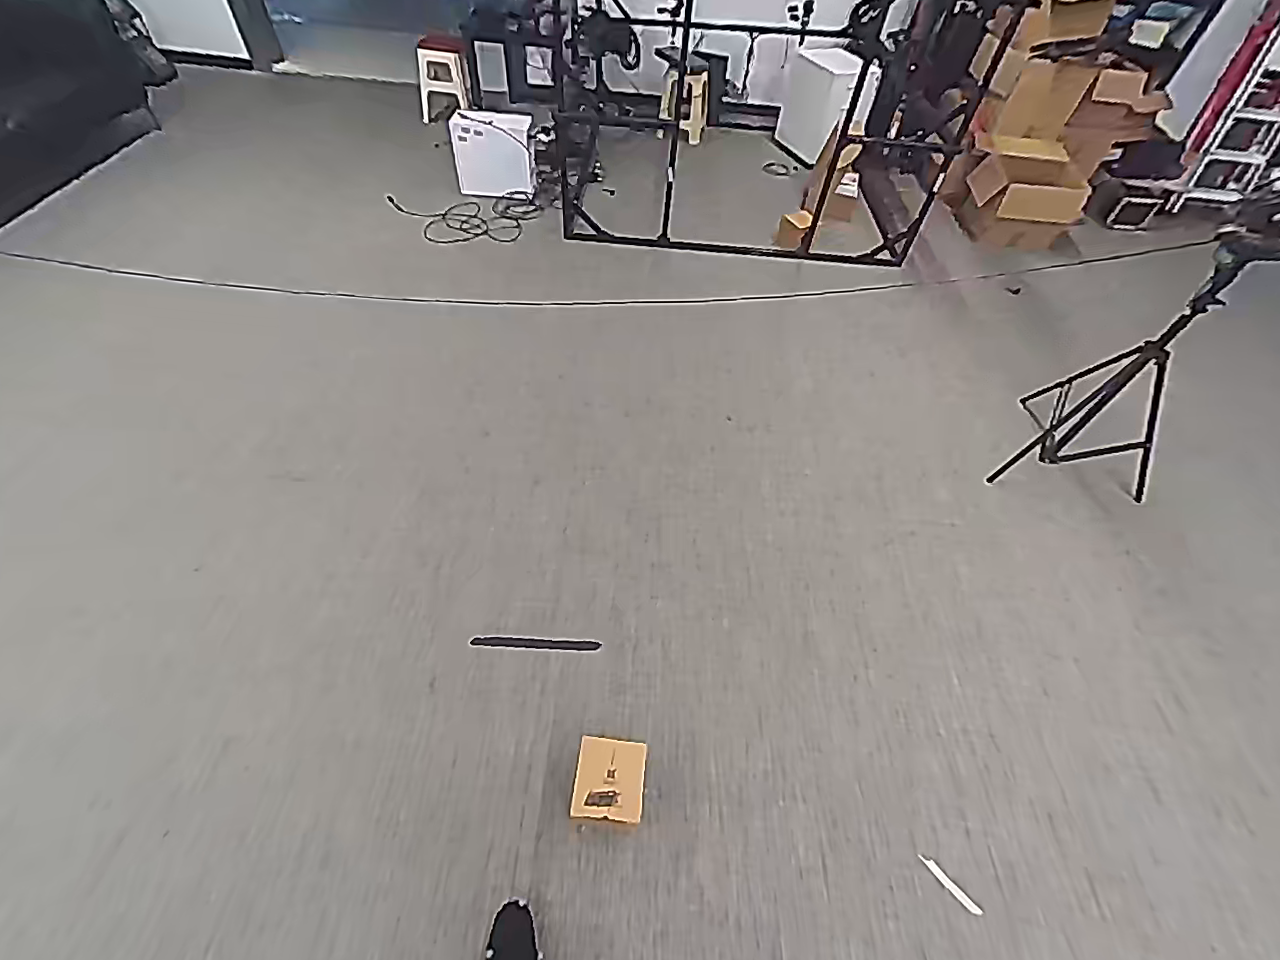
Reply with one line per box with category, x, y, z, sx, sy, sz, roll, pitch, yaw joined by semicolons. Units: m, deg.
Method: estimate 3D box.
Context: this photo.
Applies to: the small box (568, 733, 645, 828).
small box;-0.081;0.759;1.359;0.168;0.176;0.179;8;51;0
